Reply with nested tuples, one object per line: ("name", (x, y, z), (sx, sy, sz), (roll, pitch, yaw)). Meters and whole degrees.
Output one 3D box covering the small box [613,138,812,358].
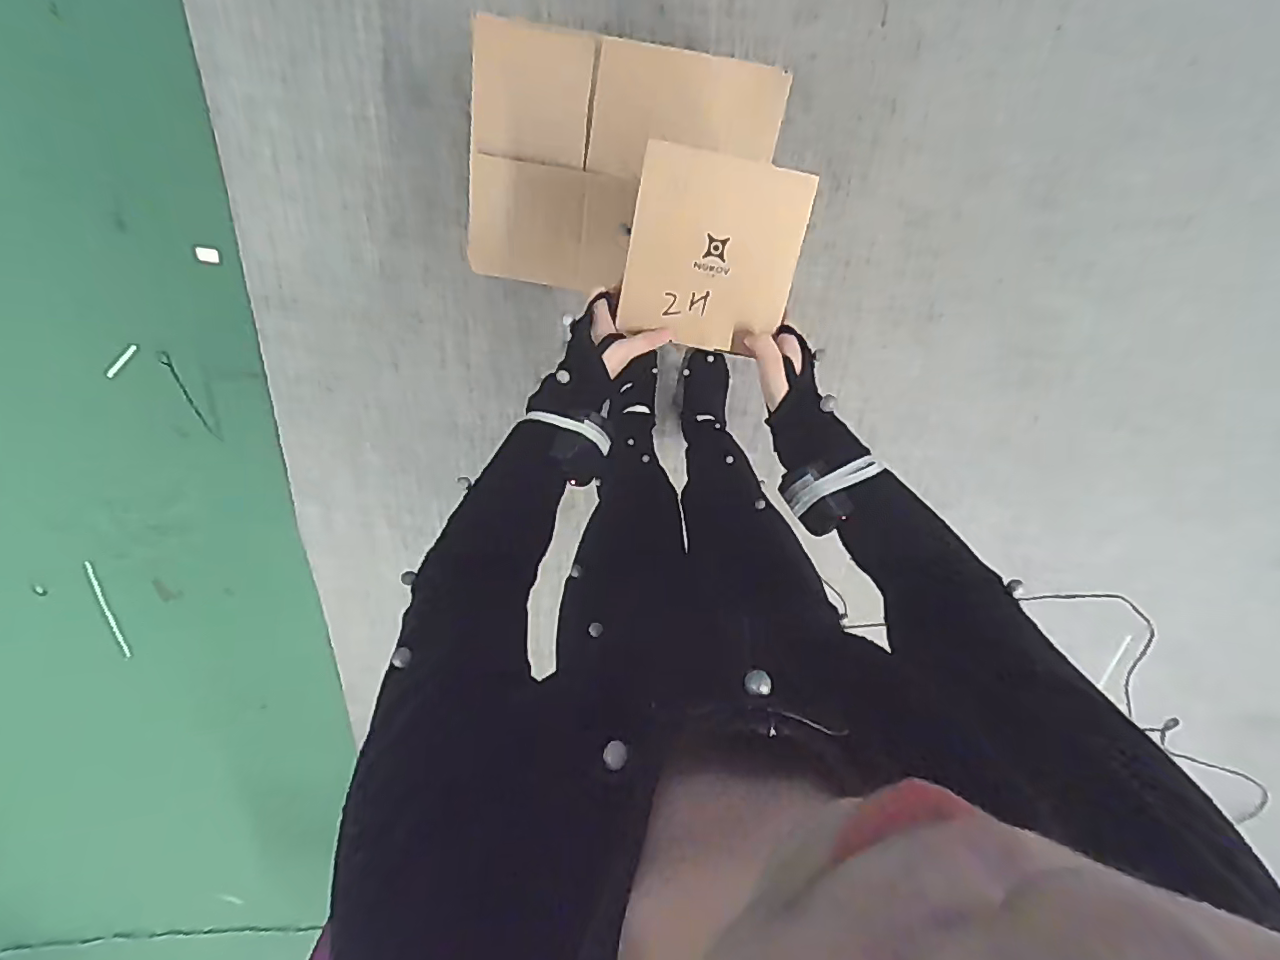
("small box", (0.067, -0.248, 0.604), (0.168, 0.176, 0.179), (10, 110, -3))
